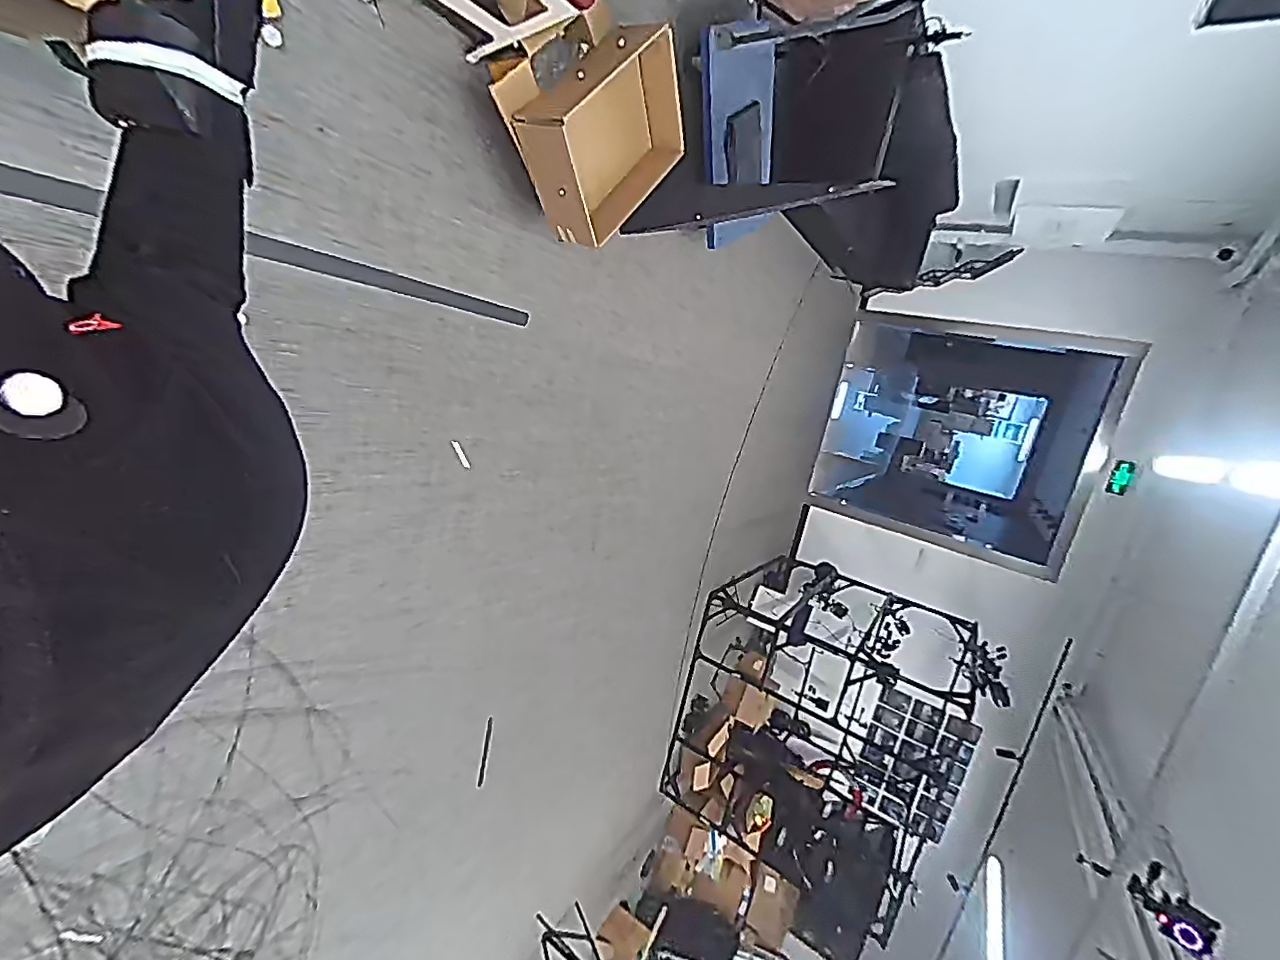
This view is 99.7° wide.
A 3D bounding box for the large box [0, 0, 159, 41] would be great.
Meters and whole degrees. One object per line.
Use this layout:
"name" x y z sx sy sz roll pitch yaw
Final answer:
"large box" -0.505 -0.478 0.225 0.408 0.320 0.320 -6 119 -60
